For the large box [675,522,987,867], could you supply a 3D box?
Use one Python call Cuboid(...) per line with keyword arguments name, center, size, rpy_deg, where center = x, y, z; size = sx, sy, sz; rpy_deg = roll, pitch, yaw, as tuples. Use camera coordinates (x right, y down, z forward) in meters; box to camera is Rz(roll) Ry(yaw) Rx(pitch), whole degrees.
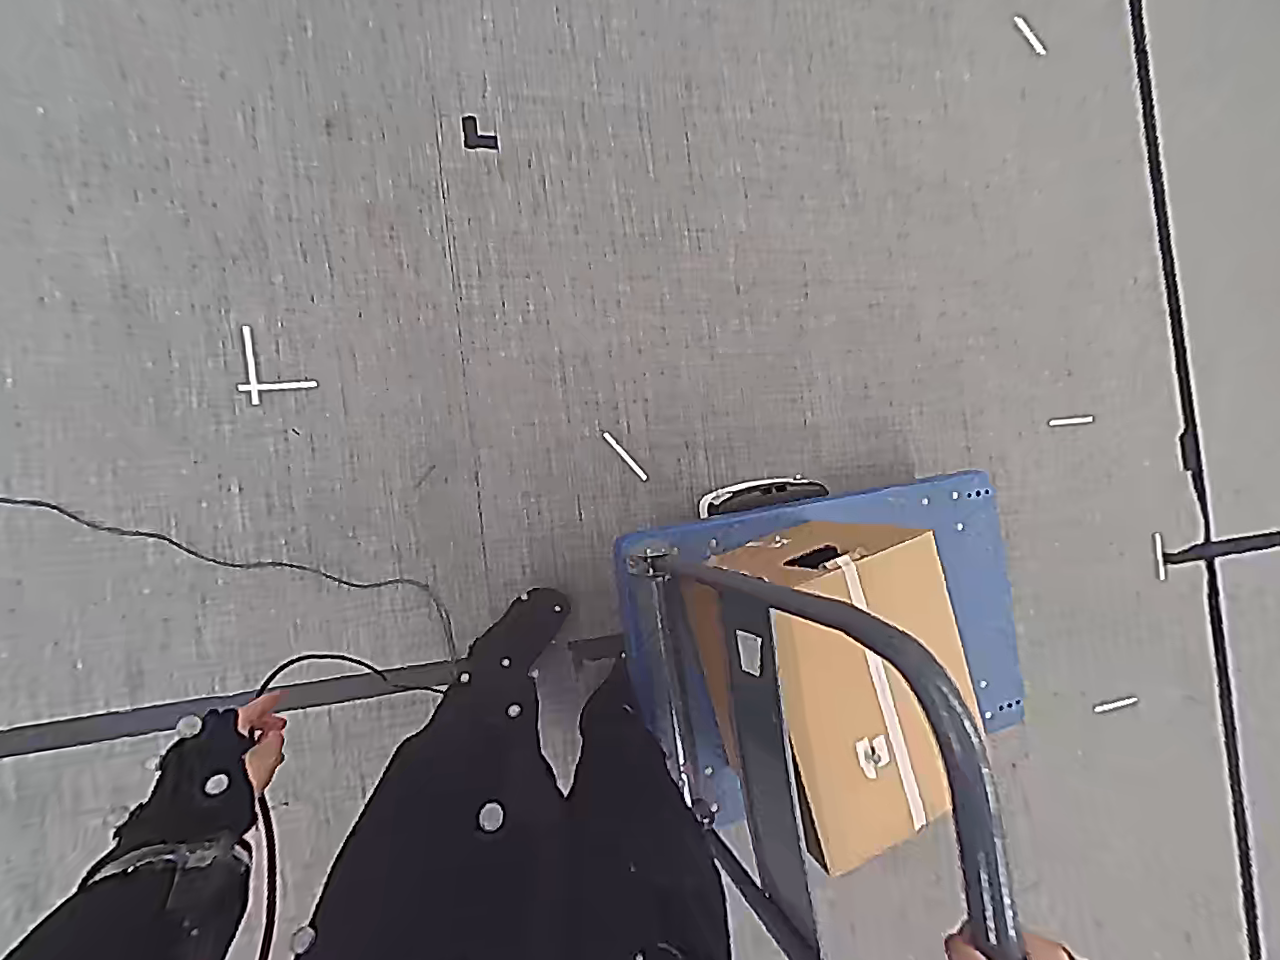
Cuboid(name="large box", center=(0.299, 0.313, 0.924), size=(0.320, 0.320, 0.408), rpy_deg=(-17, 94, -15))
